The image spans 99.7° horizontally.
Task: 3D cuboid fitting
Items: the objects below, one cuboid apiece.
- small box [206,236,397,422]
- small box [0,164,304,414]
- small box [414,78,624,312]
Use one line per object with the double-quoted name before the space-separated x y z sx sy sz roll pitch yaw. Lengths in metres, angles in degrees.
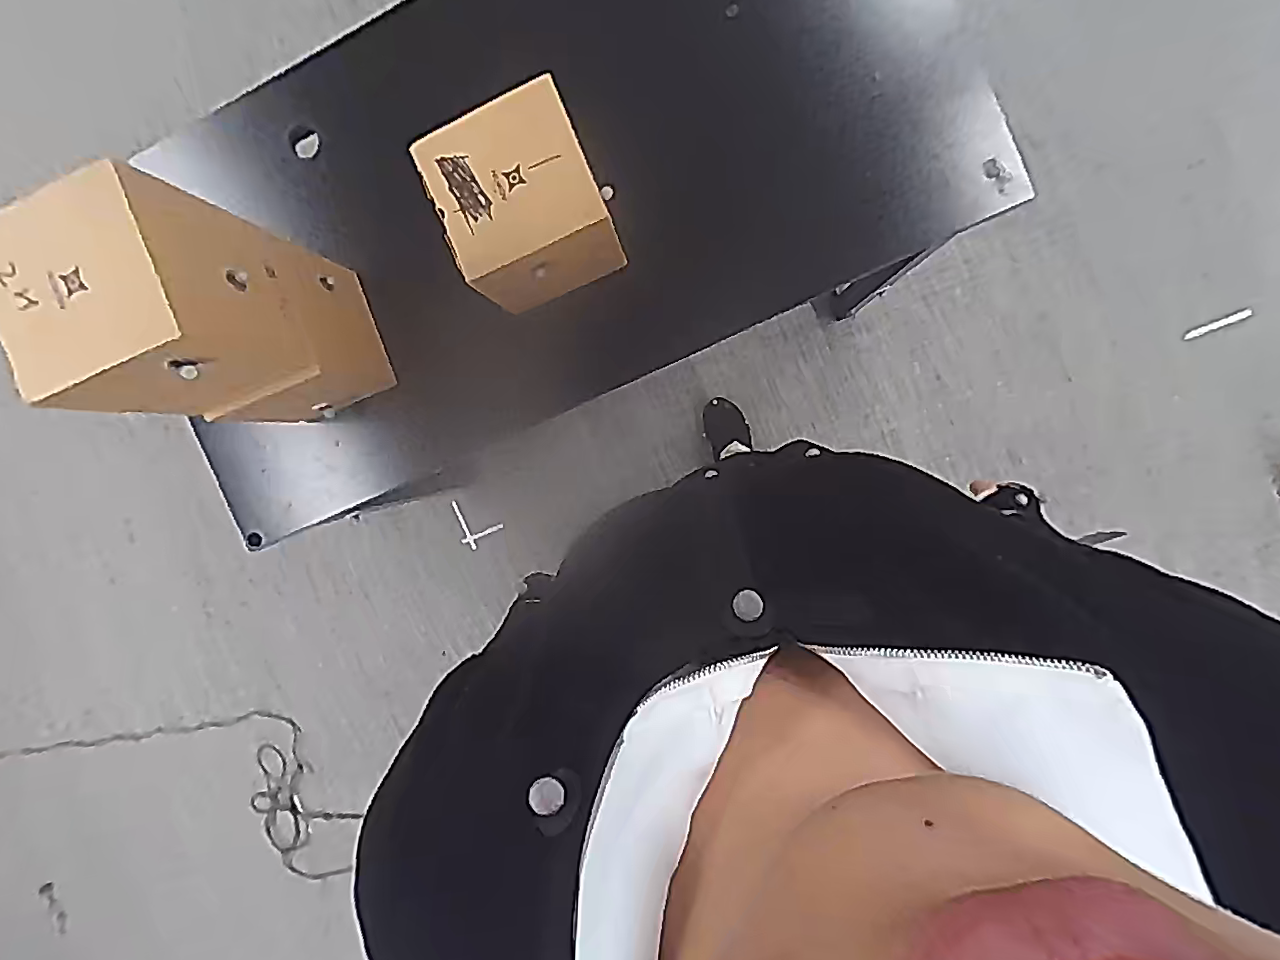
"small box" -0.462 -0.184 0.718 0.168 0.176 0.179 -20 93 8
"small box" -0.487 -0.174 0.554 0.179 0.176 0.168 -20 92 8
"small box" -0.135 -0.330 0.669 0.179 0.176 0.168 -22 92 7
